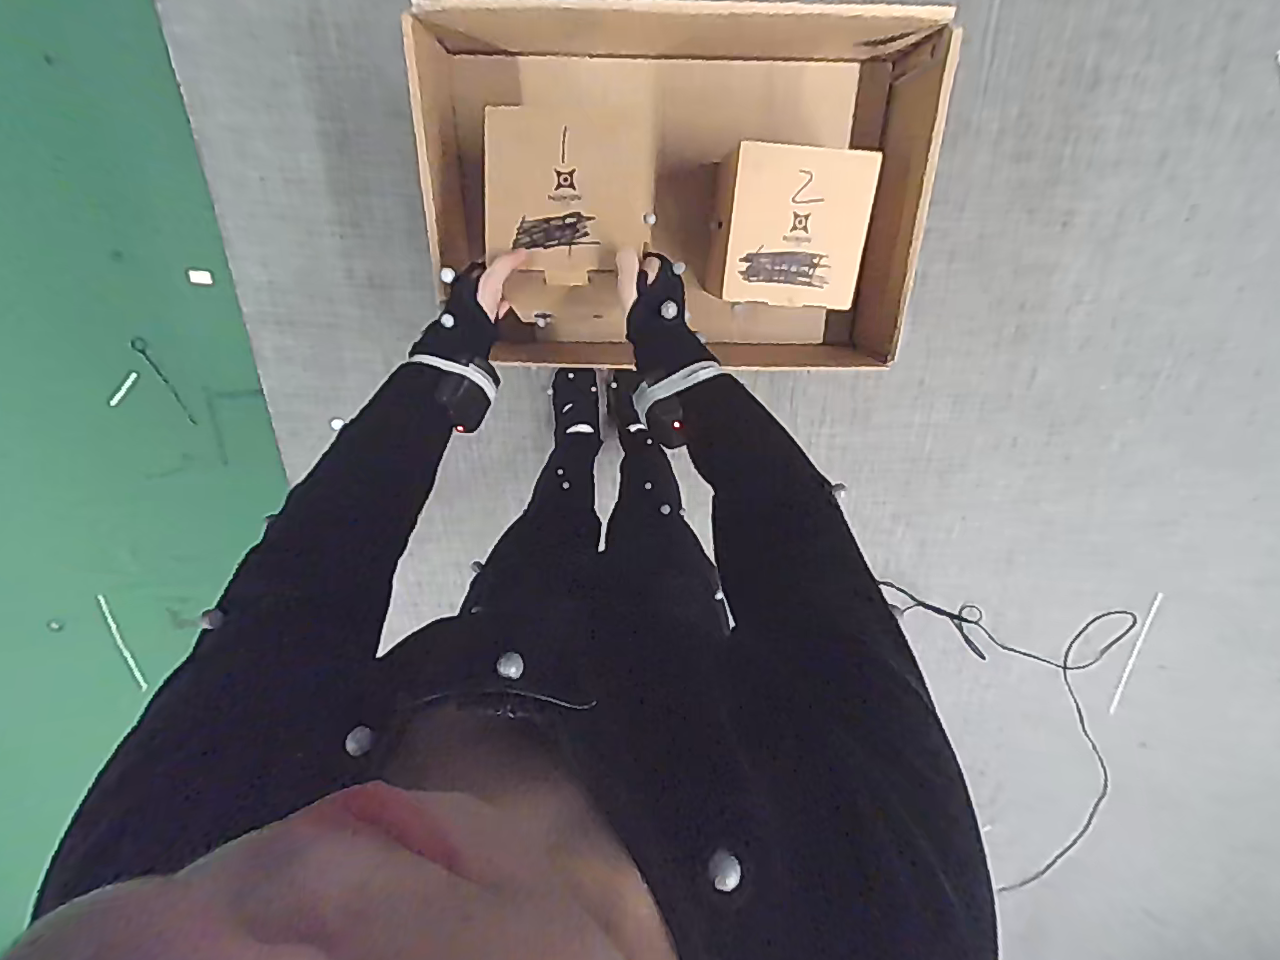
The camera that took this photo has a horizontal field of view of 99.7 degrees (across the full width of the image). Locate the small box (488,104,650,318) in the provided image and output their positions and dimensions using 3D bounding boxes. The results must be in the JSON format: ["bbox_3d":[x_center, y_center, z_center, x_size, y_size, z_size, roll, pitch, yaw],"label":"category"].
[{"bbox_3d":[-0.073,-0.301,0.641,0.168,0.176,0.179,0,87,1],"label":"small box"}]
